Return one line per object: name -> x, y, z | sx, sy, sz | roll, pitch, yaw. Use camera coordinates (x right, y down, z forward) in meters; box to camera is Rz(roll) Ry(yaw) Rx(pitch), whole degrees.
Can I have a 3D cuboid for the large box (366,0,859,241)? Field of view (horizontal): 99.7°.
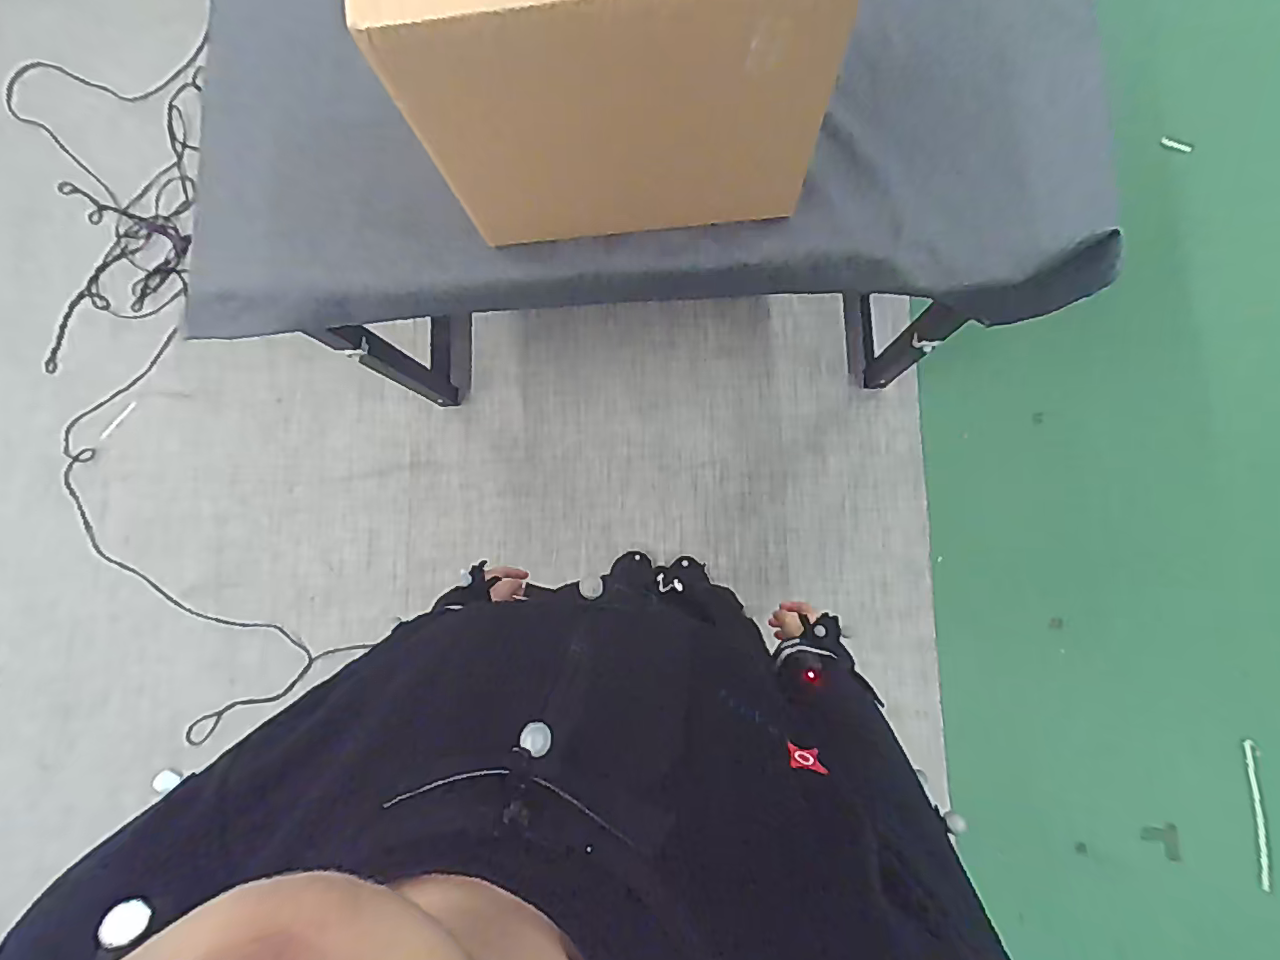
large box -> -0.023, -0.501, 0.583 | 0.408, 0.320, 0.320 | -5, 83, 3
